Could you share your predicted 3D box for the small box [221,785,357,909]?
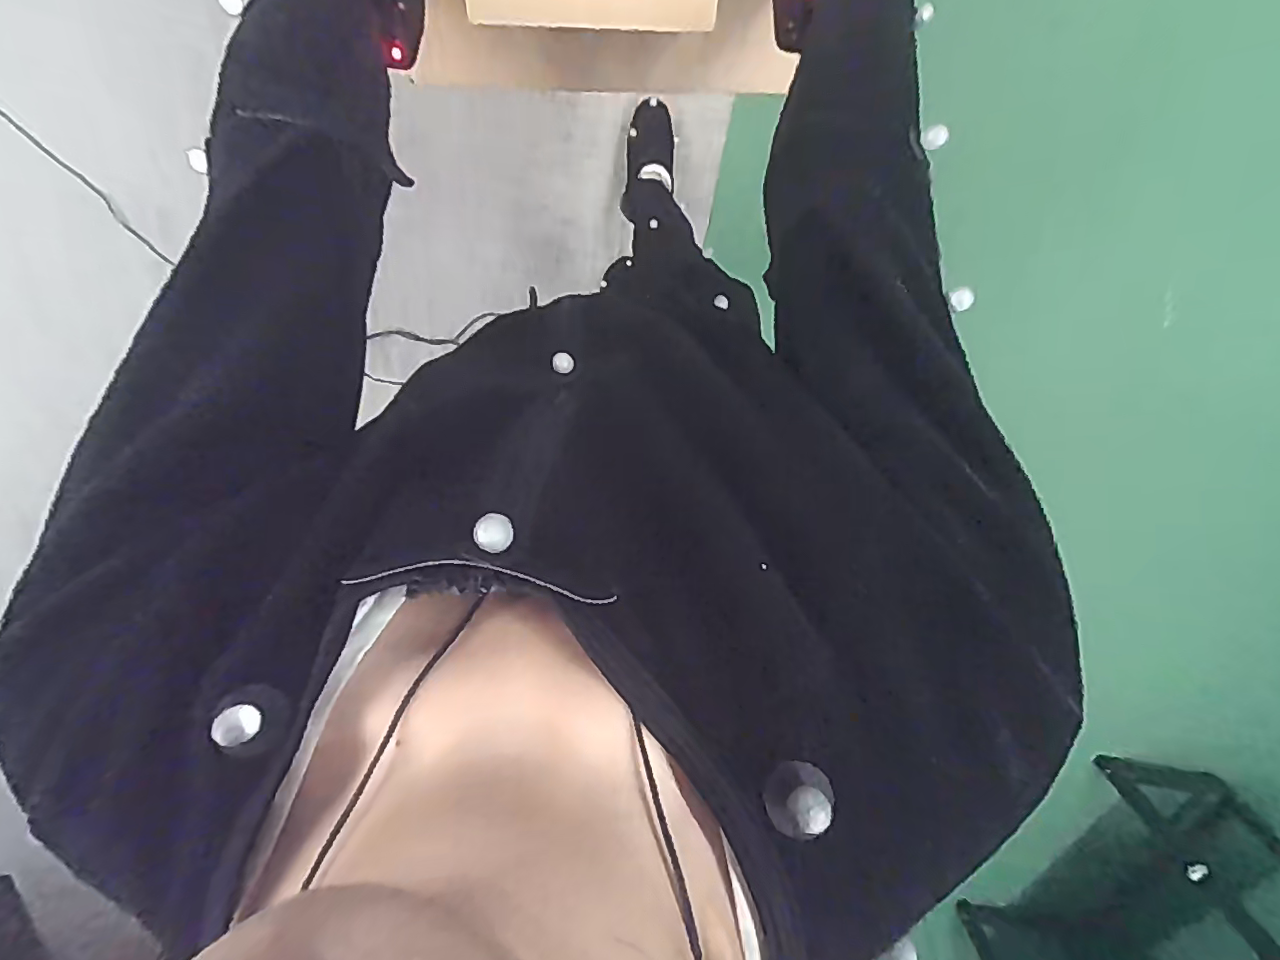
[{"bbox_3d":[-0.817,0.863,1.279,0.179,0.176,0.168,-18,116,7],"label":"small box"}]
